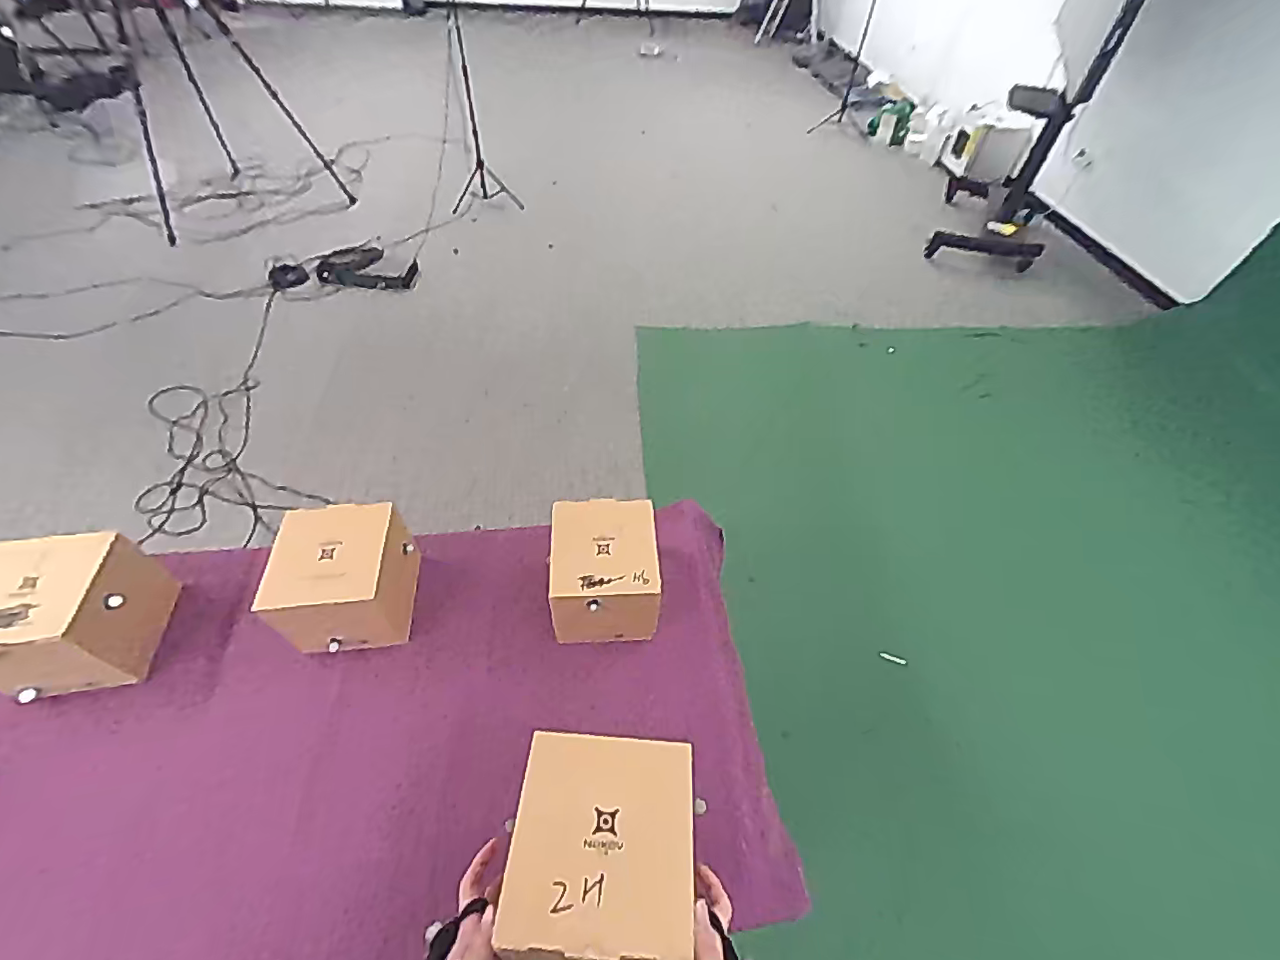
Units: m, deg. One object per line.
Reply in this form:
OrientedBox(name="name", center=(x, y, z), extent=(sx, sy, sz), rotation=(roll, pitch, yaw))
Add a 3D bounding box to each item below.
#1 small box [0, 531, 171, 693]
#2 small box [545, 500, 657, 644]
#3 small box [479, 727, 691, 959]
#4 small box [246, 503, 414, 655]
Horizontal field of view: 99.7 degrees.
OrientedBox(name="small box", center=(-0.856, 0.201, 0.802), extent=(0.168, 0.176, 0.179), rotation=(-6, 49, -9))
OrientedBox(name="small box", center=(-0.064, 0.152, 0.893), extent=(0.168, 0.176, 0.179), rotation=(-2, 50, -4))
OrientedBox(name="small box", center=(-0.042, 0.373, 0.528), extent=(0.168, 0.176, 0.179), rotation=(5, 41, 2))
OrientedBox(name="small box", center=(-0.474, 0.158, 0.864), extent=(0.168, 0.176, 0.179), rotation=(-4, 51, -6))
